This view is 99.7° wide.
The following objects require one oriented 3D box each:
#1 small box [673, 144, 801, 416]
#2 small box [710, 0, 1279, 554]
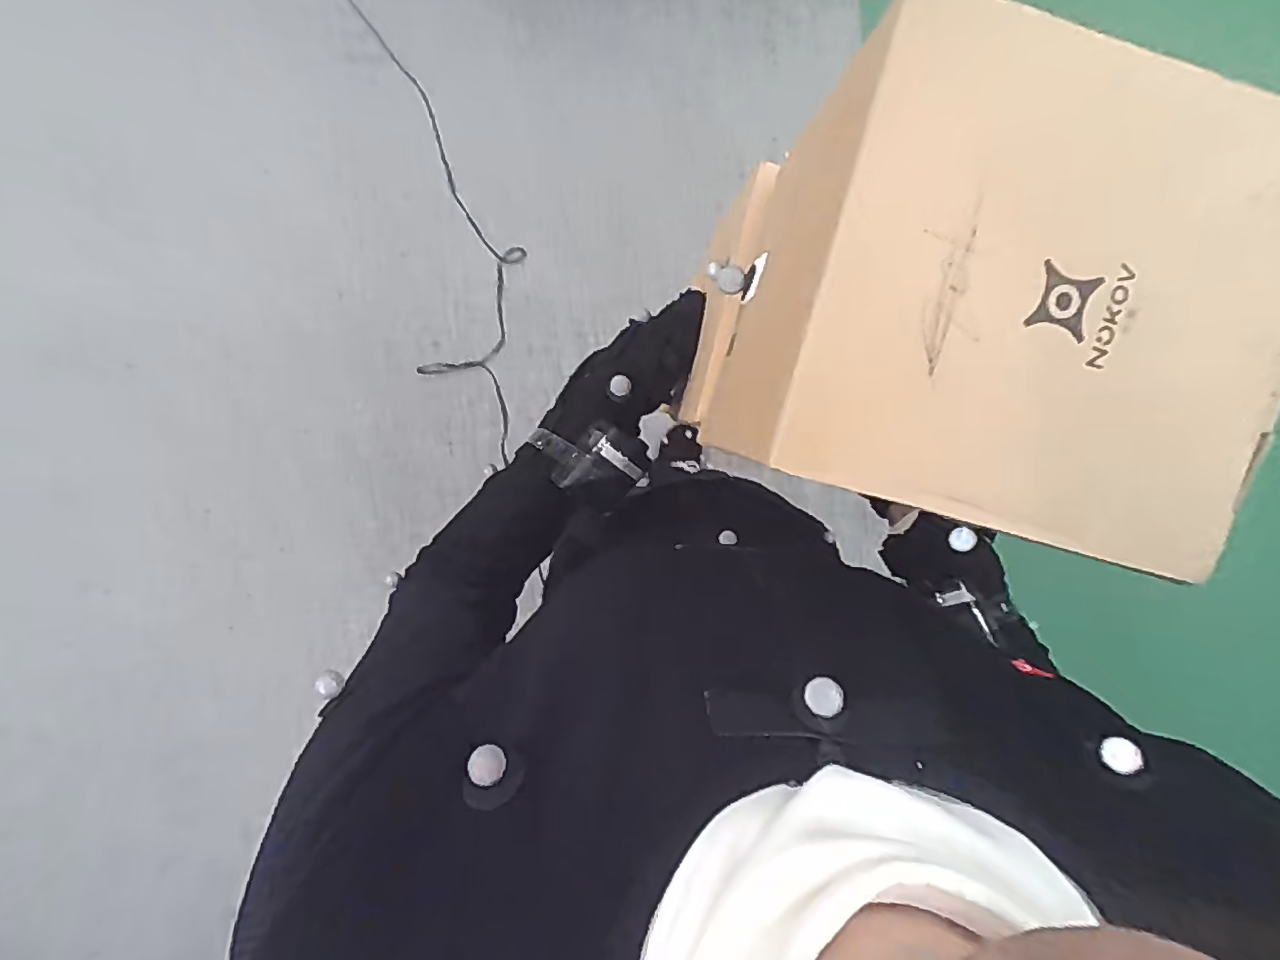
[{"bbox_3d":[0.137,-0.117,0.424,0.179,0.176,0.168,14,96,-6],"label":"small box"},{"bbox_3d":[0.148,-0.080,0.266,0.179,0.176,0.168,14,96,-3],"label":"small box"}]
